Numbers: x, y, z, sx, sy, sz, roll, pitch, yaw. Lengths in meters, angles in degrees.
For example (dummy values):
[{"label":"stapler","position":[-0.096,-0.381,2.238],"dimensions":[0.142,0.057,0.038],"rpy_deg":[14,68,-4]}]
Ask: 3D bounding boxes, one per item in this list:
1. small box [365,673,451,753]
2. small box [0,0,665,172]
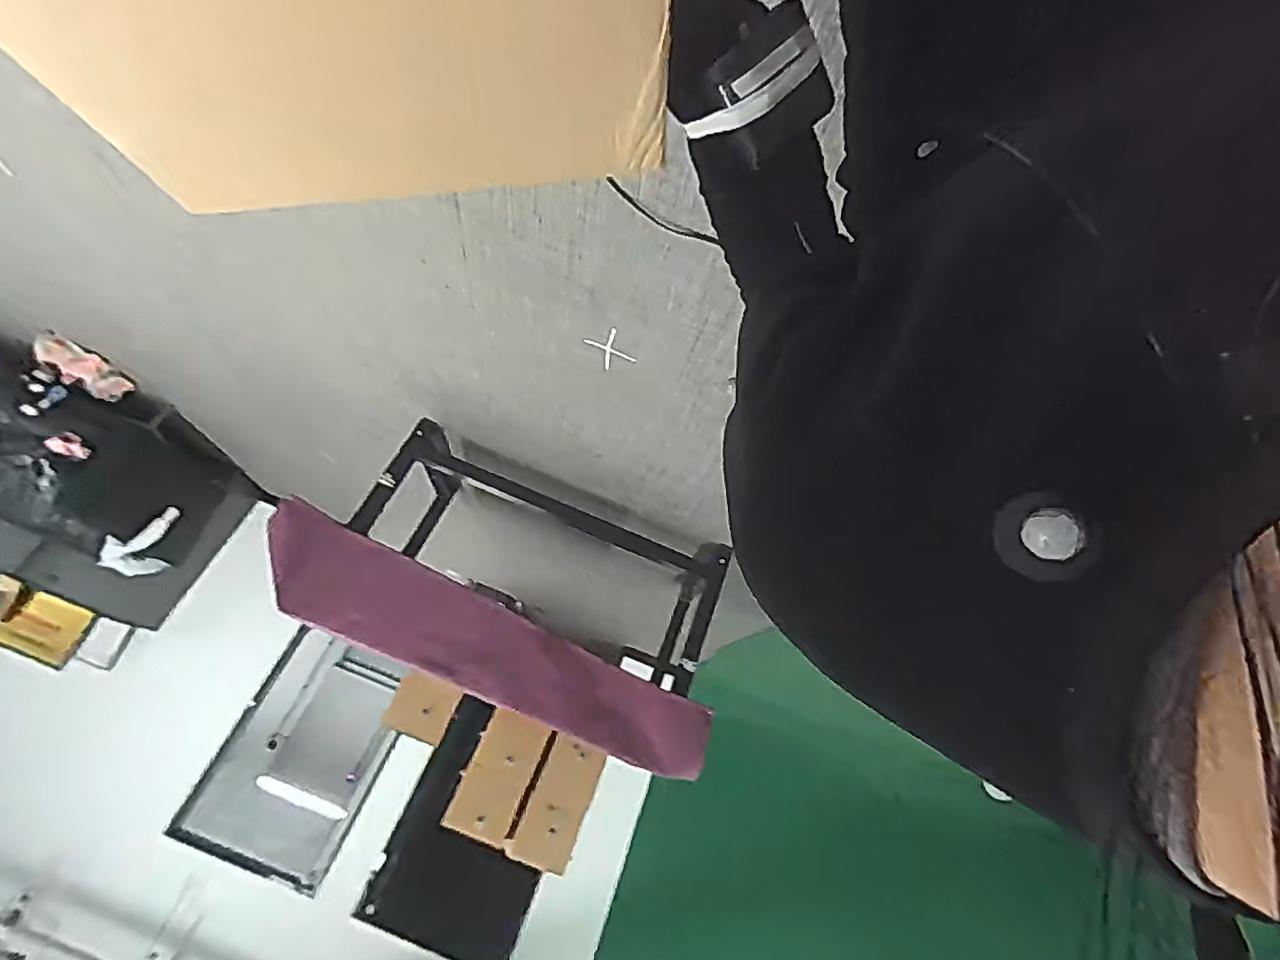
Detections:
[{"label":"small box","position":[-0.677,0.683,1.599],"dimensions":[0.179,0.176,0.168],"rpy_deg":[27,152,-7]},{"label":"small box","position":[-0.078,-0.208,0.119],"dimensions":[0.168,0.179,0.176],"rpy_deg":[-5,164,-1]}]
